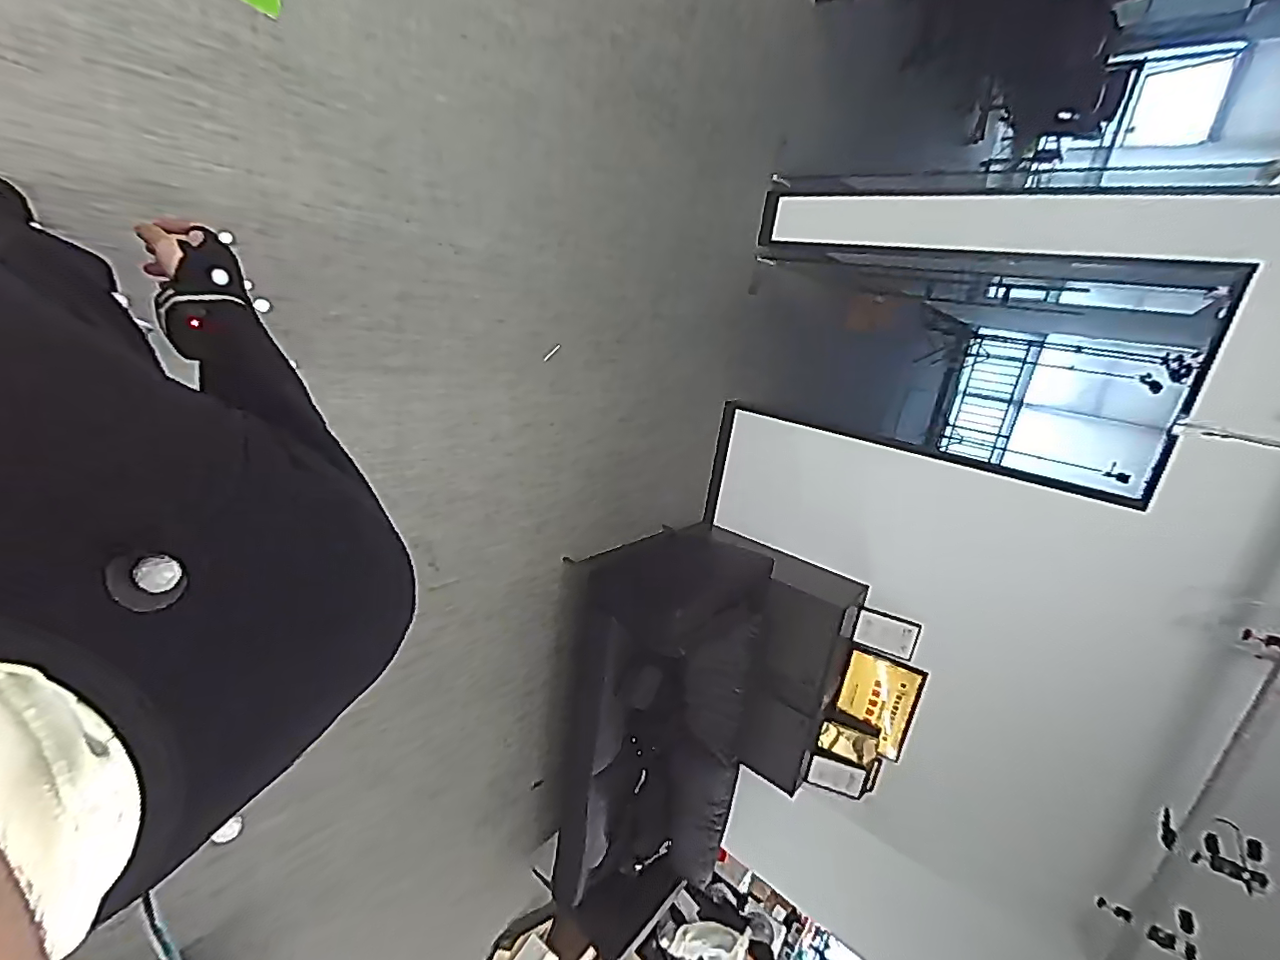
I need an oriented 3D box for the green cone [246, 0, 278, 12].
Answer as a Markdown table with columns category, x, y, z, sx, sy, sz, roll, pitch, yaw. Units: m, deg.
| category | x | y | z | sx | sy | sz | roll | pitch | yaw |
| --- | --- | --- | --- | --- | --- | --- | --- | --- | --- |
| green cone | -0.736 | -1.098 | 1.037 | 0.200 | 0.368 | 0.202 | -4 | 109 | -53 |
